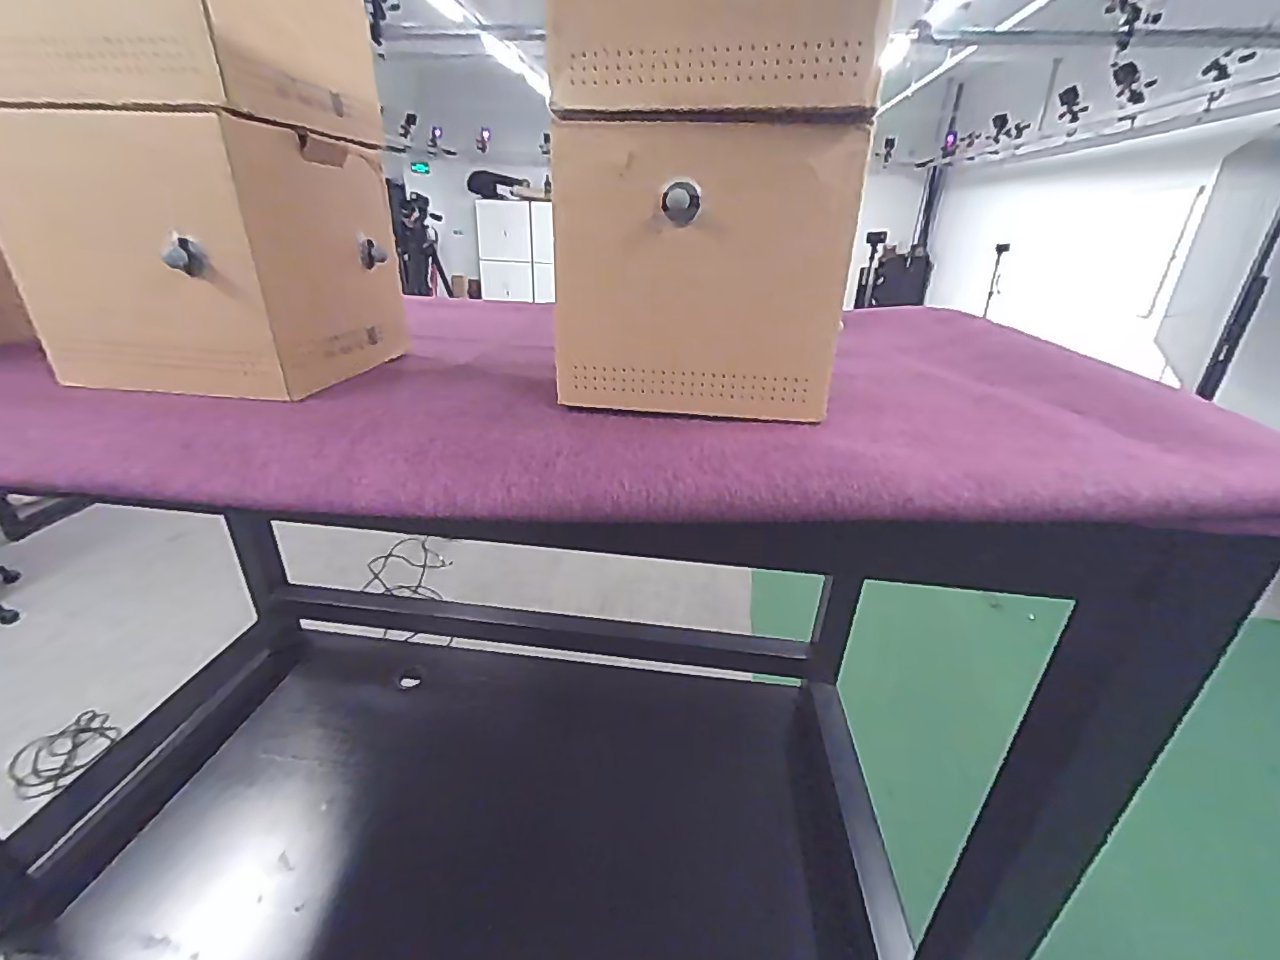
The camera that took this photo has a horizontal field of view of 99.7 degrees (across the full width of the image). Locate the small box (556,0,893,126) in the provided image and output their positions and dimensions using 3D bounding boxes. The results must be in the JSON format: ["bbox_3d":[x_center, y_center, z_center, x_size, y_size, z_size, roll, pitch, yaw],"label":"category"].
[{"bbox_3d":[0.053,-0.295,0.327,0.179,0.176,0.168,6,23,10],"label":"small box"}]

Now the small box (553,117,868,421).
[{"bbox_3d":[0.045,-0.146,0.396,0.179,0.176,0.168,5,23,7],"label":"small box"}]

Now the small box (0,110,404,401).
[{"bbox_3d":[-0.304,-0.162,0.407,0.179,0.176,0.168,4,25,5],"label":"small box"}]
